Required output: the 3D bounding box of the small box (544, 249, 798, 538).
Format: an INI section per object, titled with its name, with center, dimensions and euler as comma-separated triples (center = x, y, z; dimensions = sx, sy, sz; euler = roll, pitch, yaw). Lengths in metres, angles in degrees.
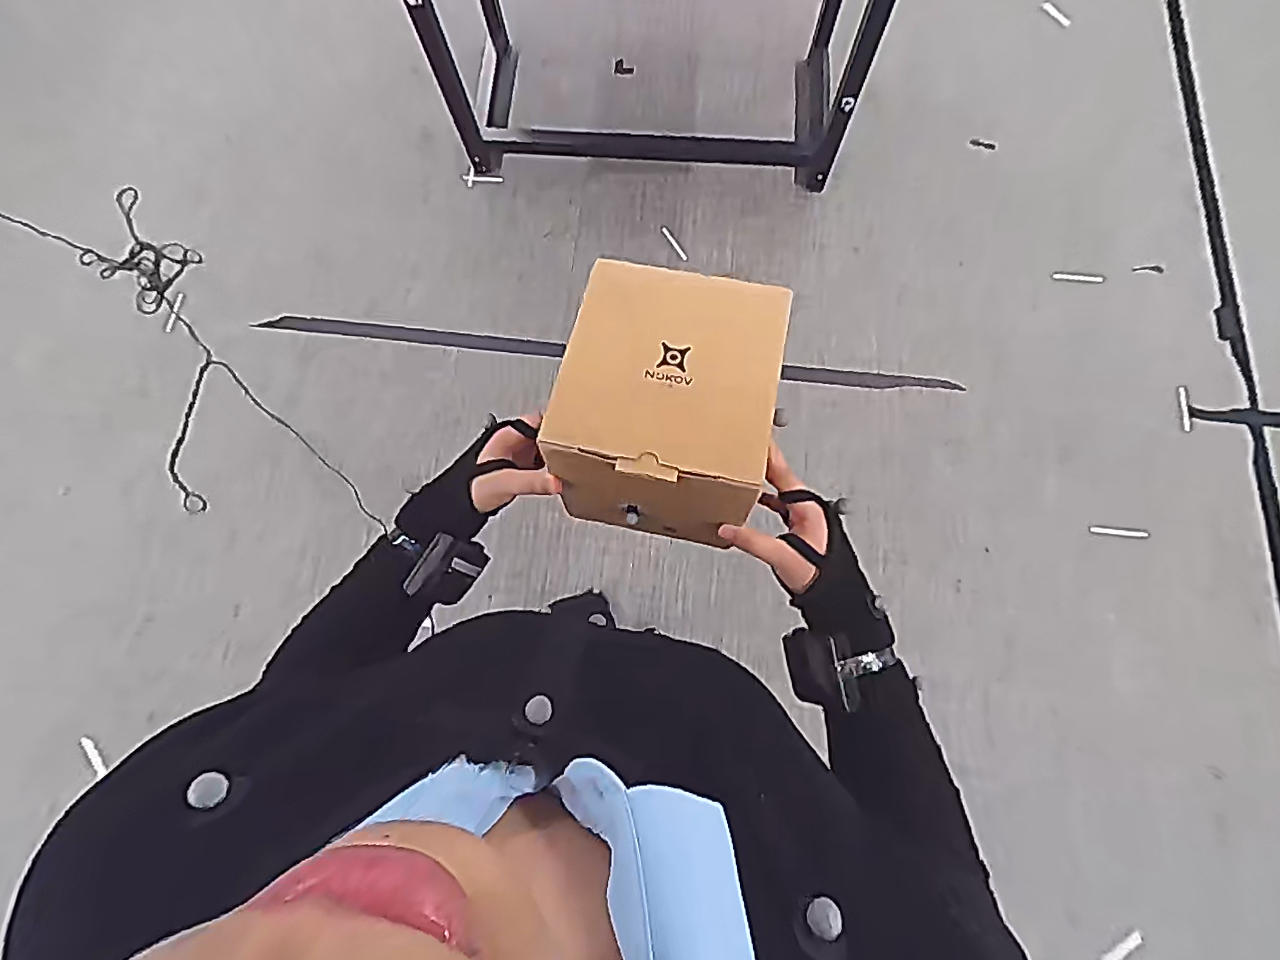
[small box]
center = 0.029, -0.065, 0.477
dimensions = 0.168, 0.176, 0.179
euler = 11, 70, 6
